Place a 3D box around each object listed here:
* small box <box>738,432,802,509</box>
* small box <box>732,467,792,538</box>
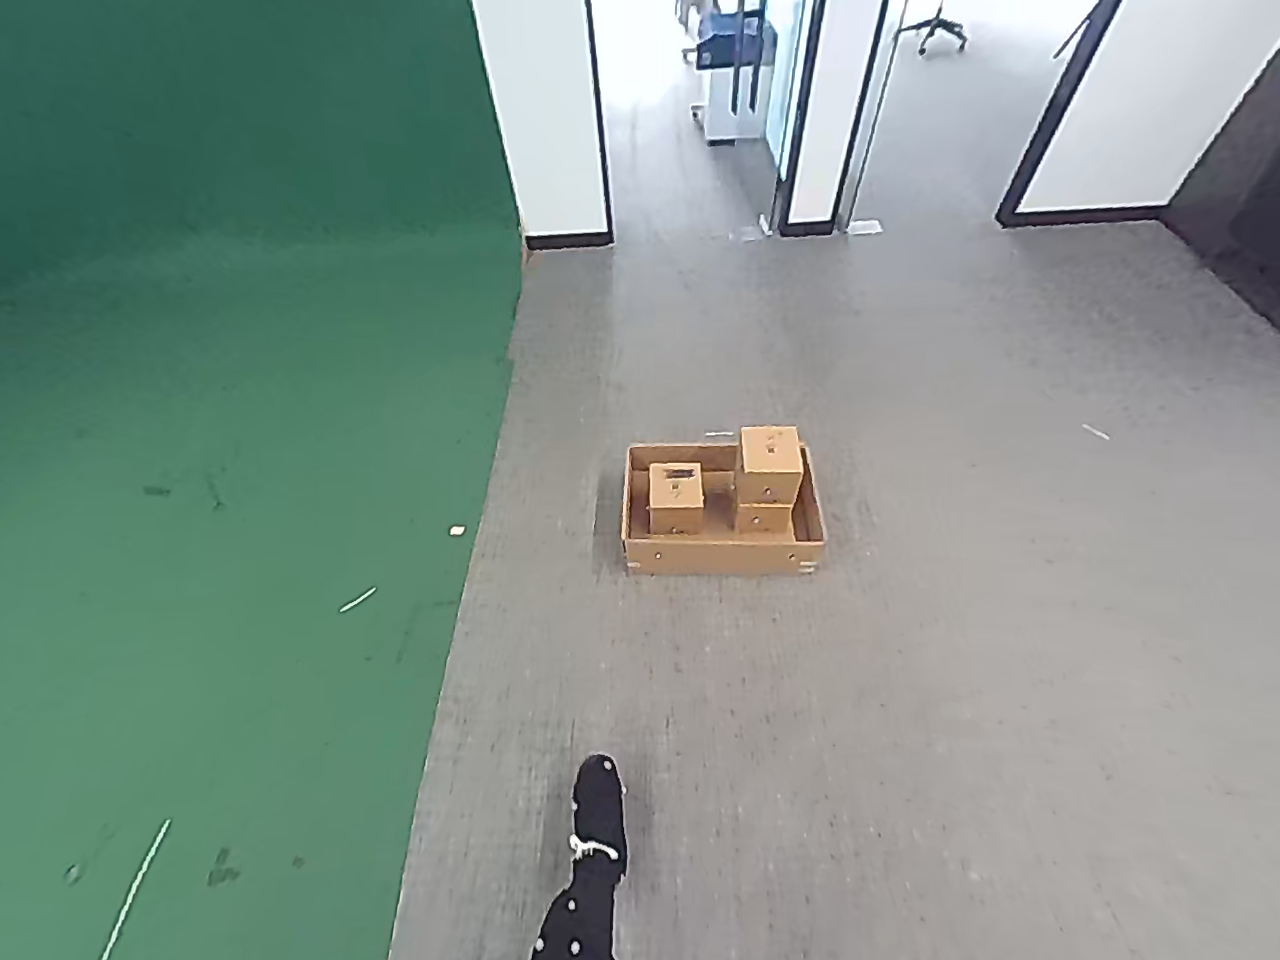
[{"bbox_3d":[0.387,-0.026,1.634,0.168,0.176,0.179,1,52,5],"label":"small box"},{"bbox_3d":[0.393,0.076,1.764,0.168,0.176,0.179,0,52,4],"label":"small box"}]
